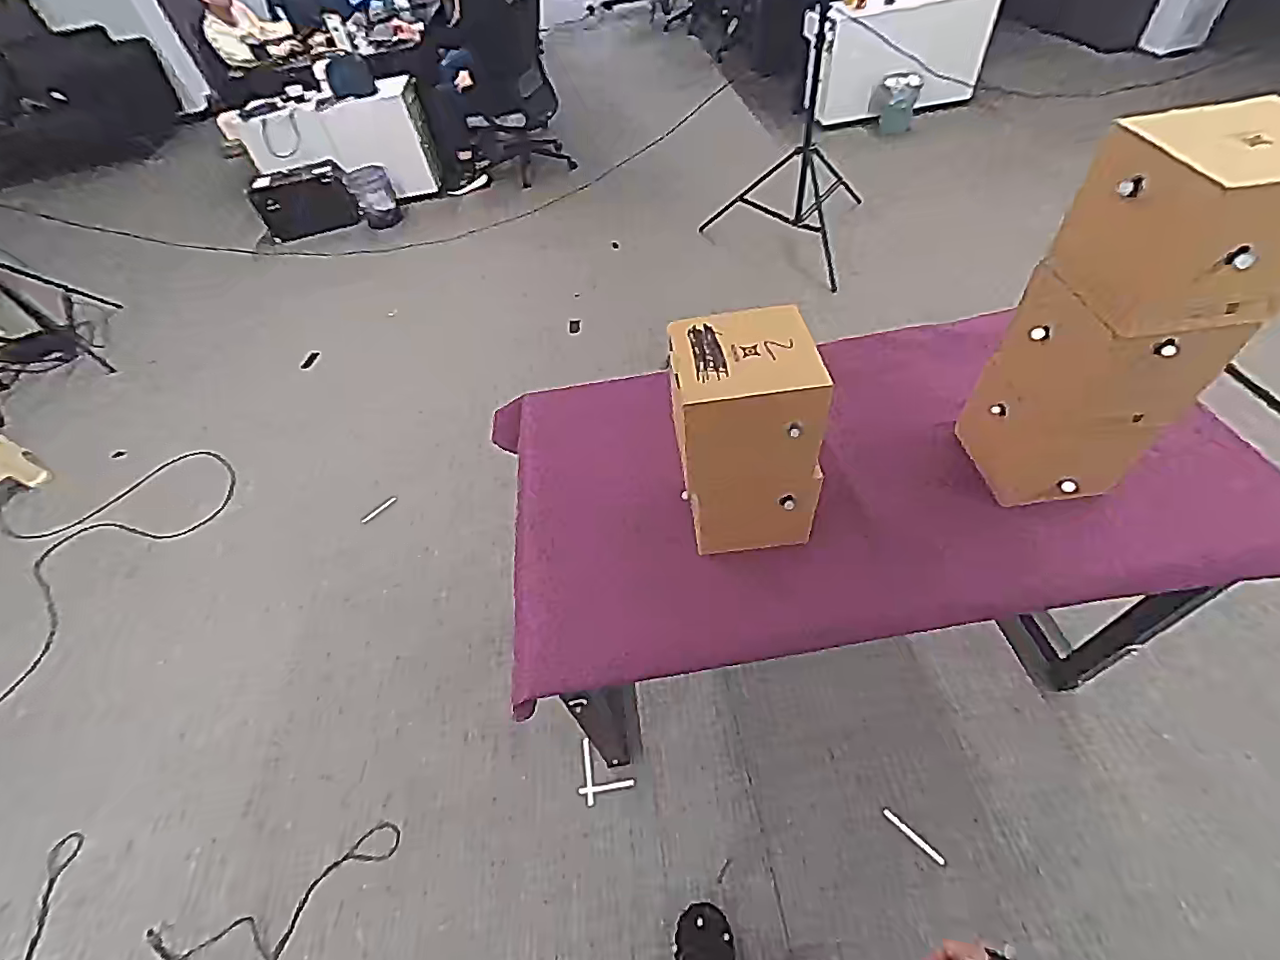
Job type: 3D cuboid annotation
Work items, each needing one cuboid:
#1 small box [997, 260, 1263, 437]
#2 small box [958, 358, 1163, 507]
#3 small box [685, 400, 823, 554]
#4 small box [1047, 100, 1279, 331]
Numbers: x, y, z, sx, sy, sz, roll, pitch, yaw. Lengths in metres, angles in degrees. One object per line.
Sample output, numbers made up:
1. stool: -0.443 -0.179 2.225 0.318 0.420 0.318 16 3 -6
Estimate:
1. small box: 0.620 -0.181 0.721 0.168 0.176 0.179 -6 50 4
2. small box: 0.638 -0.082 0.850 0.168 0.176 0.179 -8 51 2
3. small box: 0.168 0.000 0.851 0.179 0.176 0.168 -7 50 3
4. small box: 0.603 -0.279 0.591 0.168 0.176 0.179 -7 50 4
